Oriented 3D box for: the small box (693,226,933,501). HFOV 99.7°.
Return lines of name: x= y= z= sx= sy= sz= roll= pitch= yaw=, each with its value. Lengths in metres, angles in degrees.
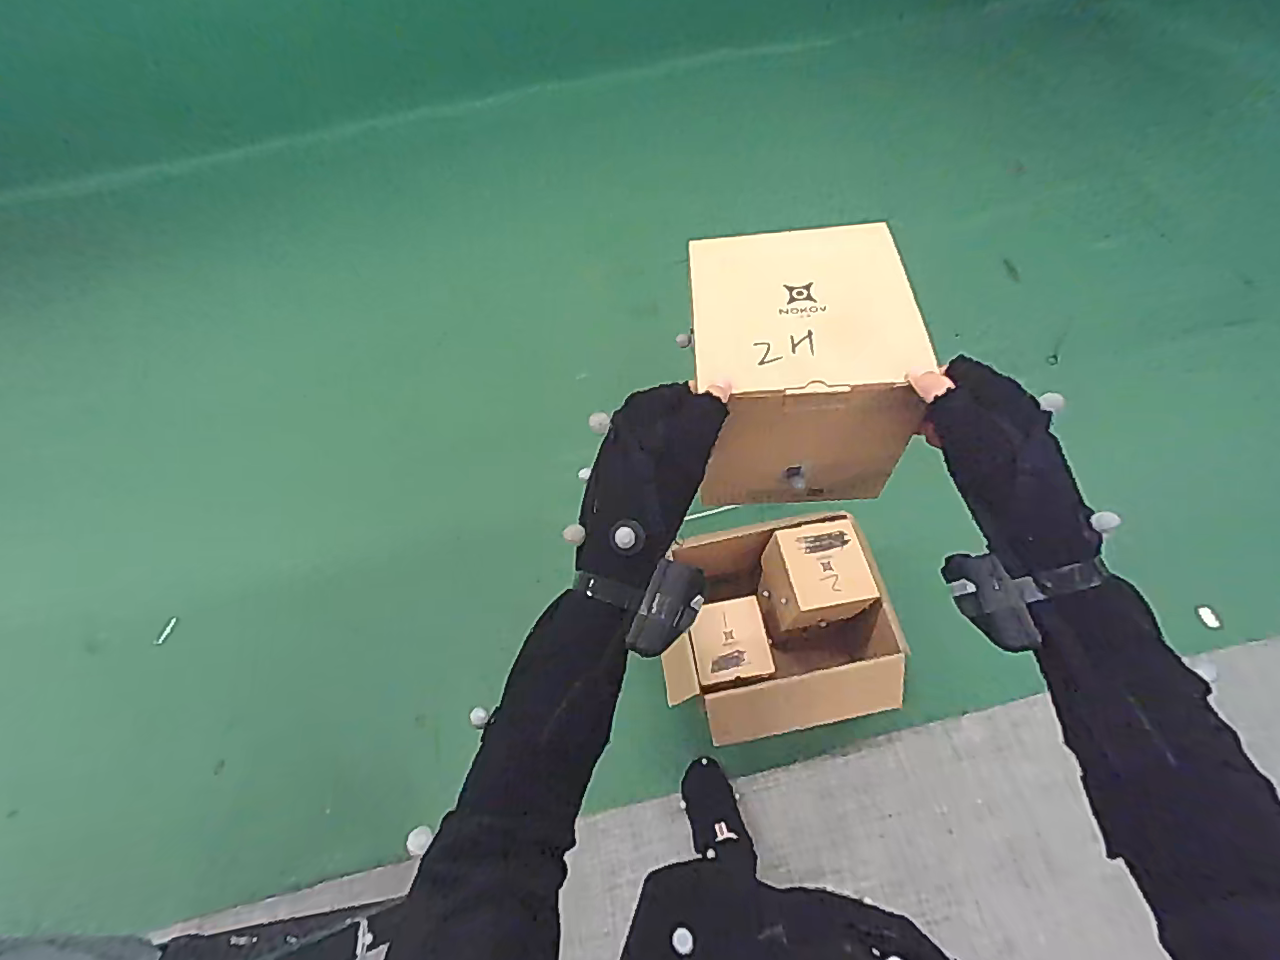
small box: x=0.132 y=-0.097 z=0.490 sx=0.168 sy=0.176 sz=0.179 roll=-3 pitch=59 yaw=7
